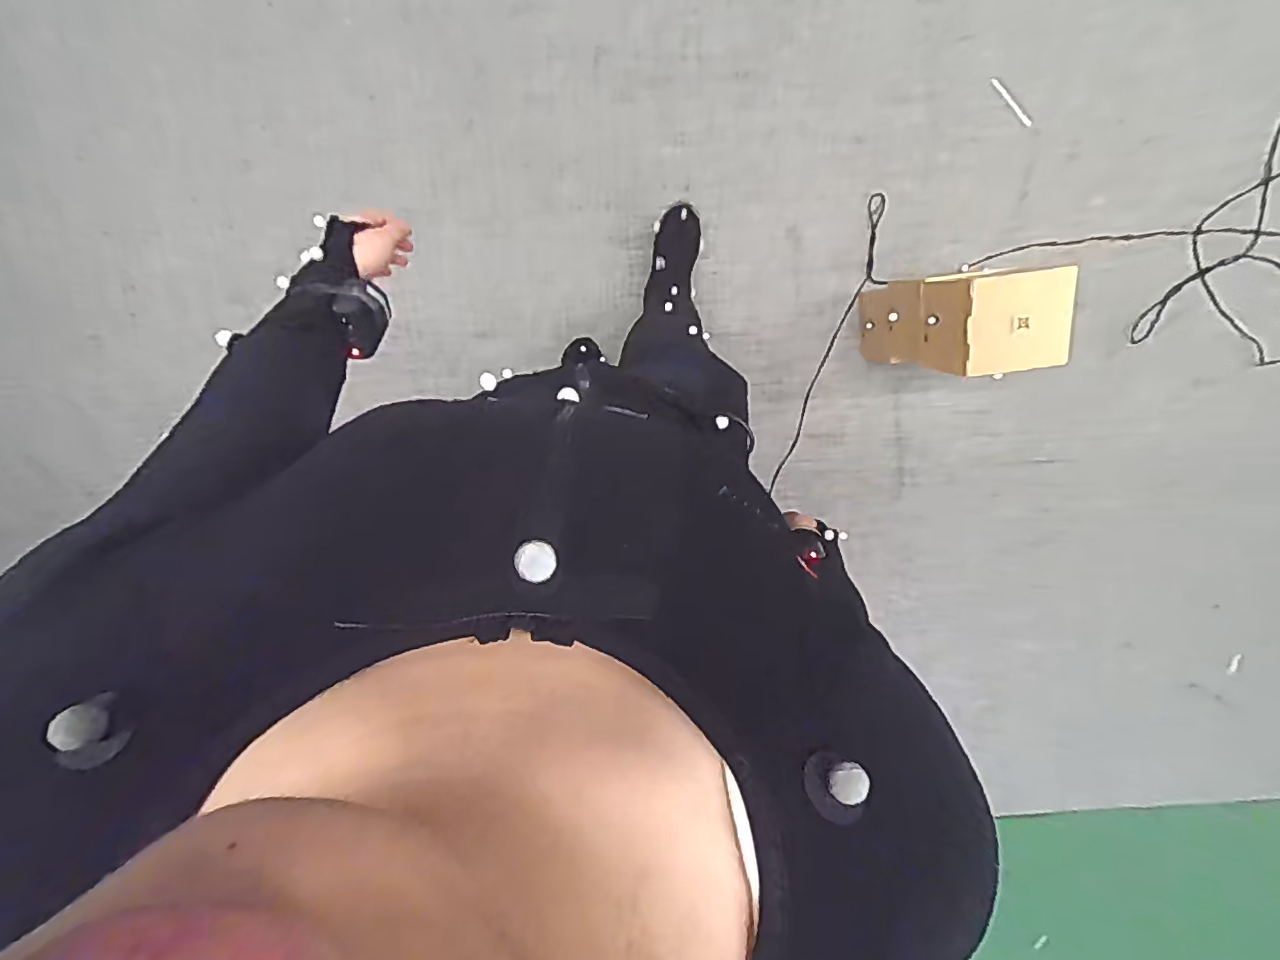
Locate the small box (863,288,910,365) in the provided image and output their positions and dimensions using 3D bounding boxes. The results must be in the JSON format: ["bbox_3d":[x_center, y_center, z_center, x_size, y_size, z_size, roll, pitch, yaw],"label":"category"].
[{"bbox_3d":[0.651,-0.379,1.301,0.179,0.176,0.168,-10,108,3],"label":"small box"}]

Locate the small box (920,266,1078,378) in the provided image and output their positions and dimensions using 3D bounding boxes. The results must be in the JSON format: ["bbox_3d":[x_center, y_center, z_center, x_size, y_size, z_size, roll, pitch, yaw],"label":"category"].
[{"bbox_3d":[0.642,-0.290,0.987,0.179,0.176,0.168,-8,107,3],"label":"small box"}]

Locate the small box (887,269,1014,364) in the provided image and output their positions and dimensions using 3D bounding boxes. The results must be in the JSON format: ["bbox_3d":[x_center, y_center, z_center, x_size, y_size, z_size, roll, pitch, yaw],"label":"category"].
[{"bbox_3d":[0.646,-0.345,1.140,0.179,0.176,0.168,-7,107,3],"label":"small box"}]
